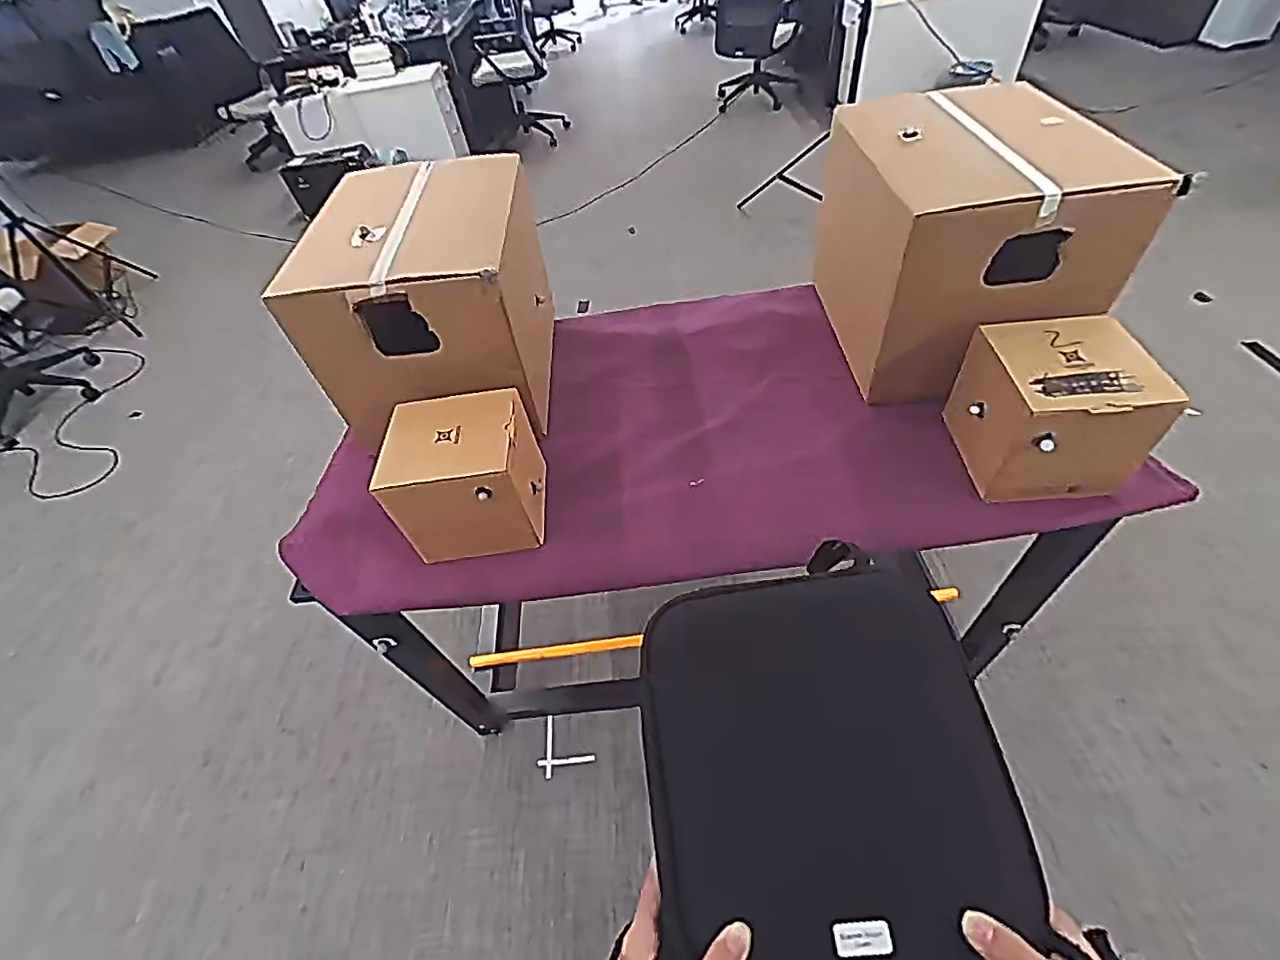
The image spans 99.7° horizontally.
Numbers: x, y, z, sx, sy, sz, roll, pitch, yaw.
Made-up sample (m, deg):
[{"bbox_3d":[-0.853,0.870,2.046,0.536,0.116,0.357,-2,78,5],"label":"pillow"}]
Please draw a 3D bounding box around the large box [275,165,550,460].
[{"bbox_3d":[-0.337,-0.292,0.943,0.320,0.320,0.408,-7,51,1],"label":"large box"}]

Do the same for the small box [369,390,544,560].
[{"bbox_3d":[-0.247,-0.002,0.774,0.179,0.176,0.168,-9,48,1],"label":"small box"}]
